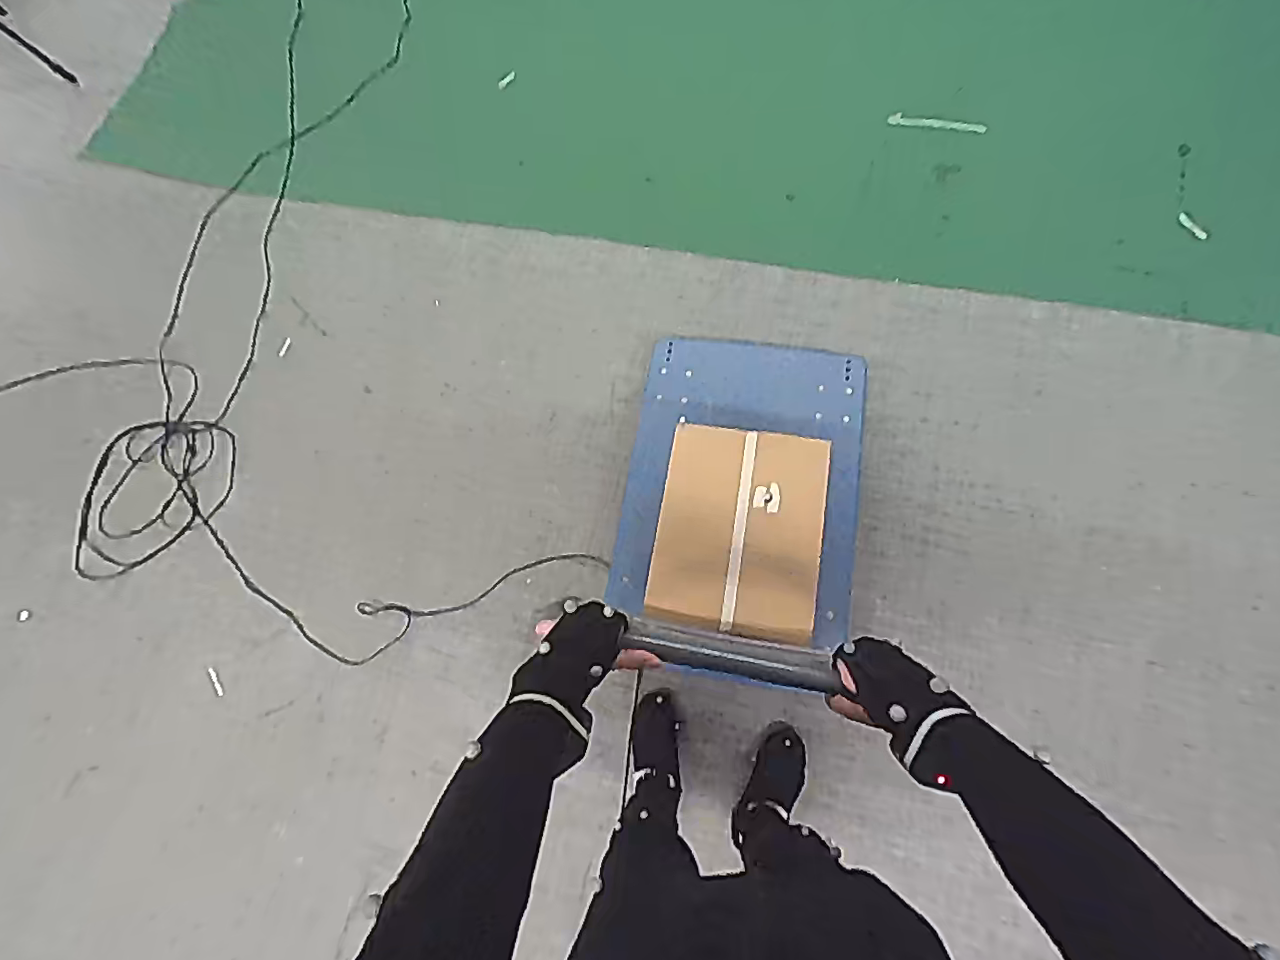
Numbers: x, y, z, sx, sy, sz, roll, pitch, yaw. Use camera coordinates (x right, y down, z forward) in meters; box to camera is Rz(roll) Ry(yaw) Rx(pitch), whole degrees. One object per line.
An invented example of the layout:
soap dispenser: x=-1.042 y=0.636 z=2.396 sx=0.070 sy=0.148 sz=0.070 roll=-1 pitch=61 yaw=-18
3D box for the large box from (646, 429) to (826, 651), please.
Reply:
large box: x=0.210 y=0.144 z=1.184 sx=0.320 sy=0.320 sz=0.408 roll=8 pitch=73 yaw=10
